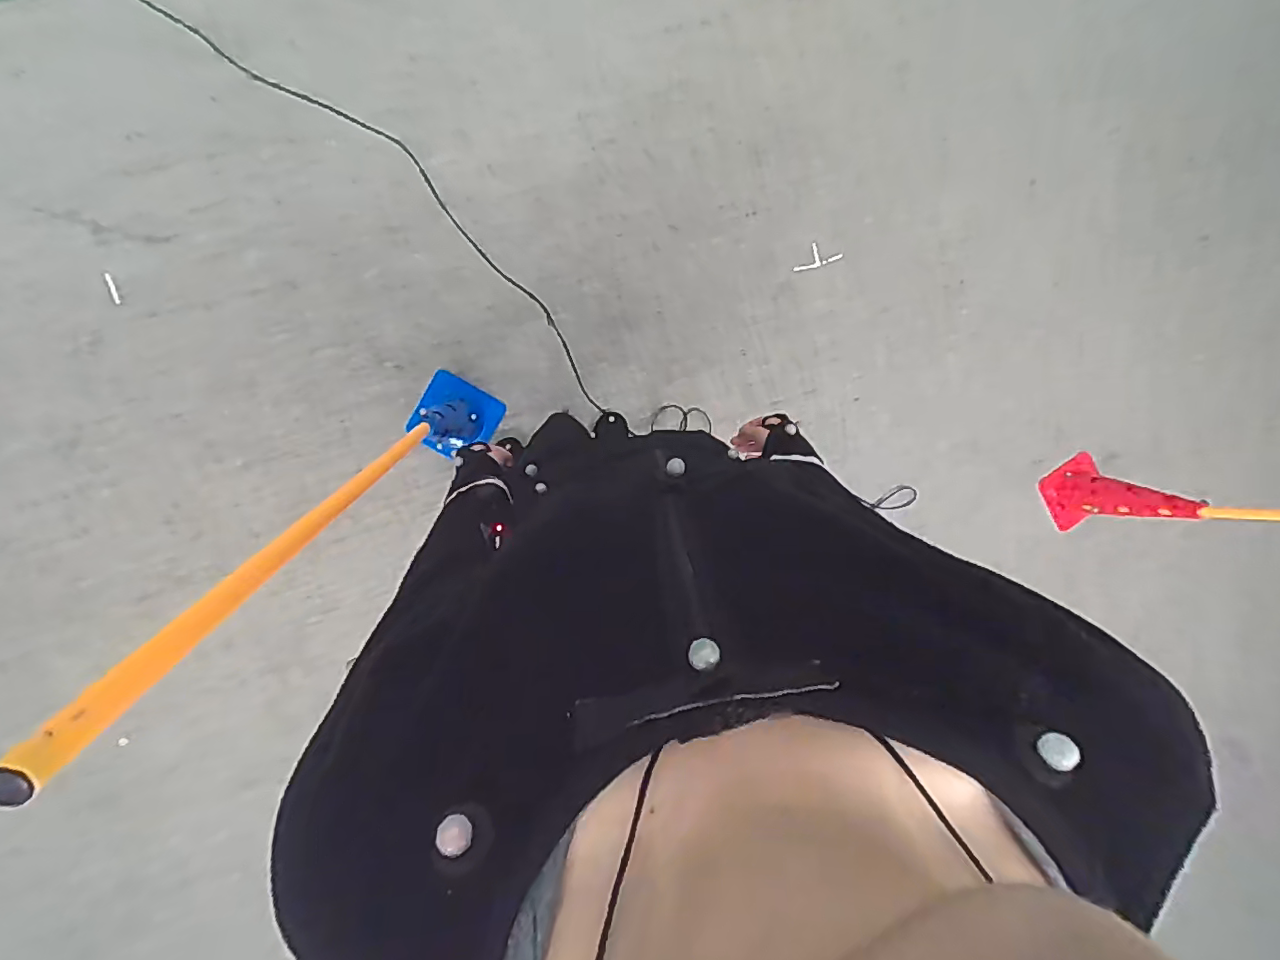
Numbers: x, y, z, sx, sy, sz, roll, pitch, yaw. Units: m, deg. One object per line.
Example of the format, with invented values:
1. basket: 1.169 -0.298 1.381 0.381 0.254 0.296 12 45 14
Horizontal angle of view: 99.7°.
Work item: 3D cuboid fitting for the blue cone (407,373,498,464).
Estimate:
1. blue cone: -0.449 -0.124 1.222 0.192 0.380 0.193 28 95 -12
